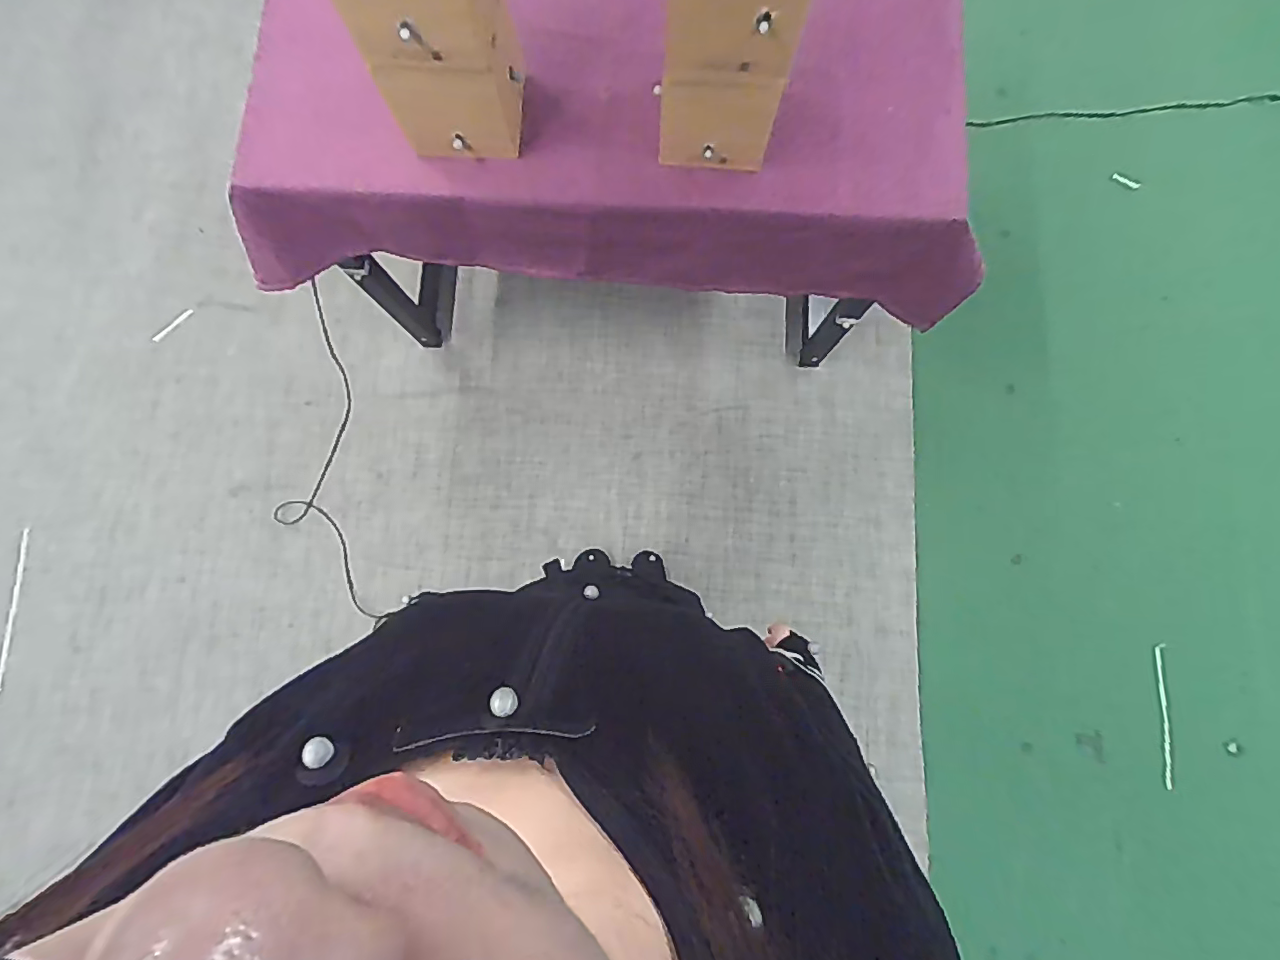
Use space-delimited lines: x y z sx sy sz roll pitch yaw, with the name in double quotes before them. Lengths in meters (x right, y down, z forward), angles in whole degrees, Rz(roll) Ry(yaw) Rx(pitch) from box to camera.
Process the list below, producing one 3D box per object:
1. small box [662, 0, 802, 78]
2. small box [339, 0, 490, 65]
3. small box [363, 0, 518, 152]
"small box" 0.115 -0.635 0.658 0.168 0.176 0.179 4 82 0
"small box" -0.286 -0.660 0.658 0.168 0.176 0.179 3 82 1
"small box" -0.288 -0.632 0.821 0.179 0.176 0.168 2 82 -1
